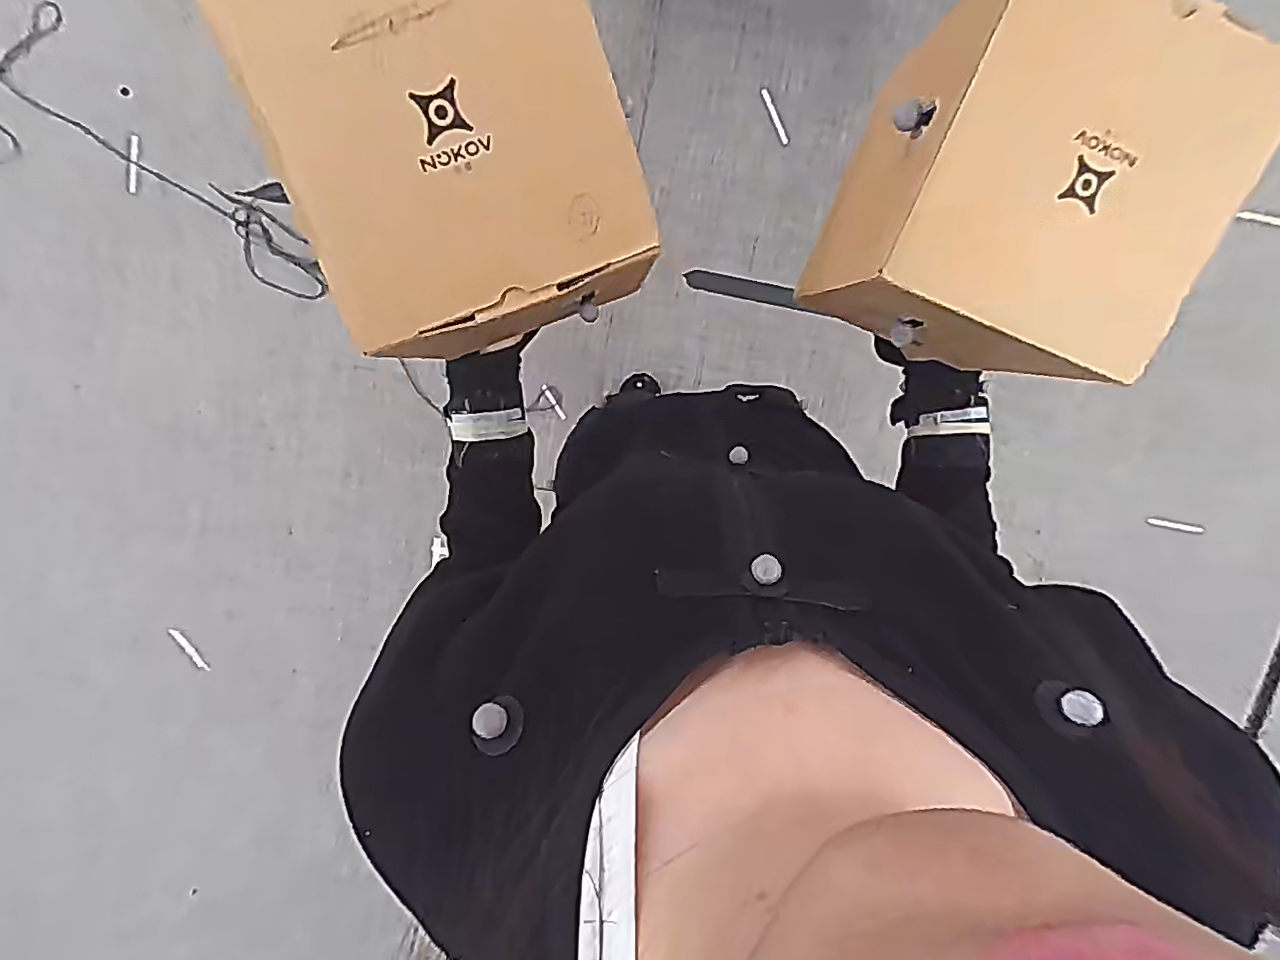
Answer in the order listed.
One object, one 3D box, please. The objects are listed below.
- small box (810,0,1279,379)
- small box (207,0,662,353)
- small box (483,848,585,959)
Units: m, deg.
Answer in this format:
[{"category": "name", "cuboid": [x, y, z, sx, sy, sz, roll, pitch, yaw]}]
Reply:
[{"category": "small box", "cuboid": [0.235, -0.182, 0.362, 0.168, 0.176, 0.179, 20, 102, -6]}, {"category": "small box", "cuboid": [-0.097, -0.188, 0.334, 0.168, 0.176, 0.179, -21, 102, -1]}, {"category": "small box", "cuboid": [-0.212, 0.895, 1.093, 0.168, 0.176, 0.179, 15, 99, -1]}]
